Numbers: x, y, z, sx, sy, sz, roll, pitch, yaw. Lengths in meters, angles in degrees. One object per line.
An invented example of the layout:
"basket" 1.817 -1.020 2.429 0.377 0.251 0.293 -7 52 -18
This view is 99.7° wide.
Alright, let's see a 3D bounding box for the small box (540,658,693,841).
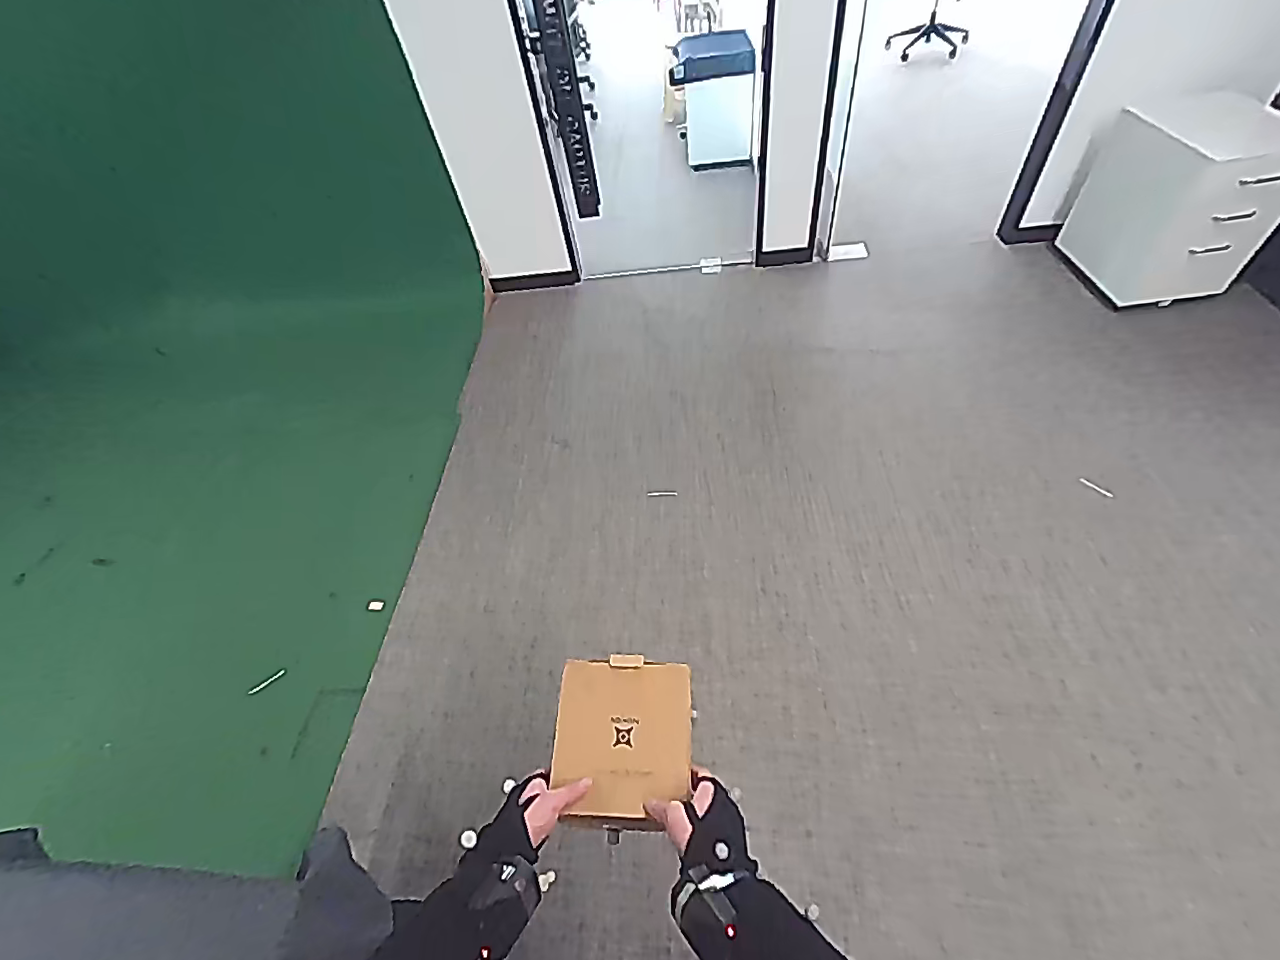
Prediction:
"small box" -0.019 0.349 0.699 0.168 0.176 0.179 1 52 5
